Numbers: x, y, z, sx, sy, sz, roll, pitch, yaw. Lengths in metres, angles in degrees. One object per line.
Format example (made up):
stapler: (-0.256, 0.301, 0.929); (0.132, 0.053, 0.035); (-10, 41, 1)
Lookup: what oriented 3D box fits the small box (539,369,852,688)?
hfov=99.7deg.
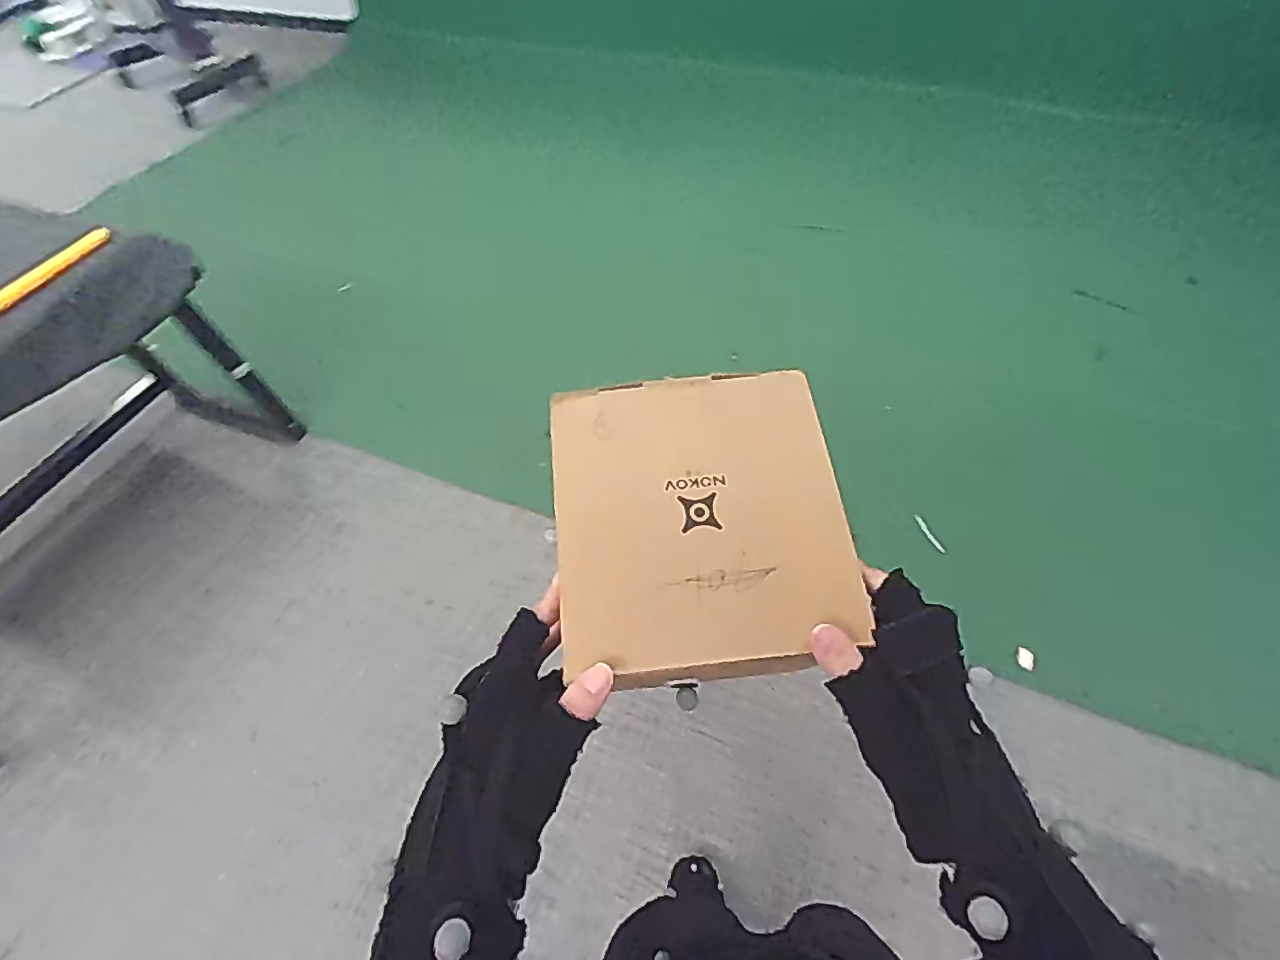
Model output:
small box: (0.024, 0.045, 0.390); (0.168, 0.176, 0.179); (-7, 67, -2)
